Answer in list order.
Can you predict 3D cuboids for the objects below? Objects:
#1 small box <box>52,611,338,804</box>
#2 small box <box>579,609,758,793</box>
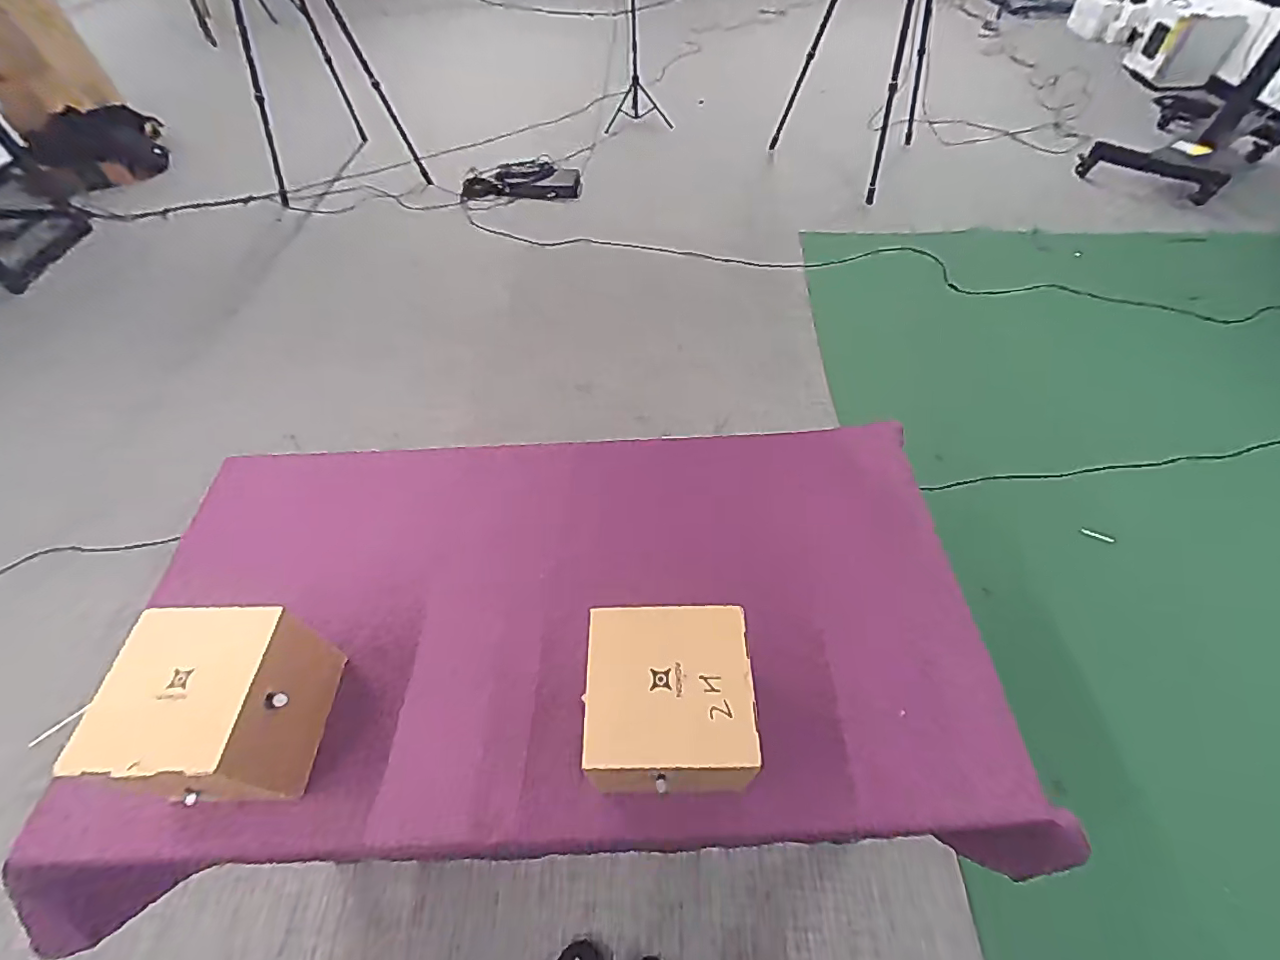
[{"bbox_3d":[-0.491,0.270,0.637,0.168,0.176,0.179,-1,54,0],"label":"small box"},{"bbox_3d":[0.031,0.261,0.628,0.179,0.176,0.168,-1,54,1],"label":"small box"}]
